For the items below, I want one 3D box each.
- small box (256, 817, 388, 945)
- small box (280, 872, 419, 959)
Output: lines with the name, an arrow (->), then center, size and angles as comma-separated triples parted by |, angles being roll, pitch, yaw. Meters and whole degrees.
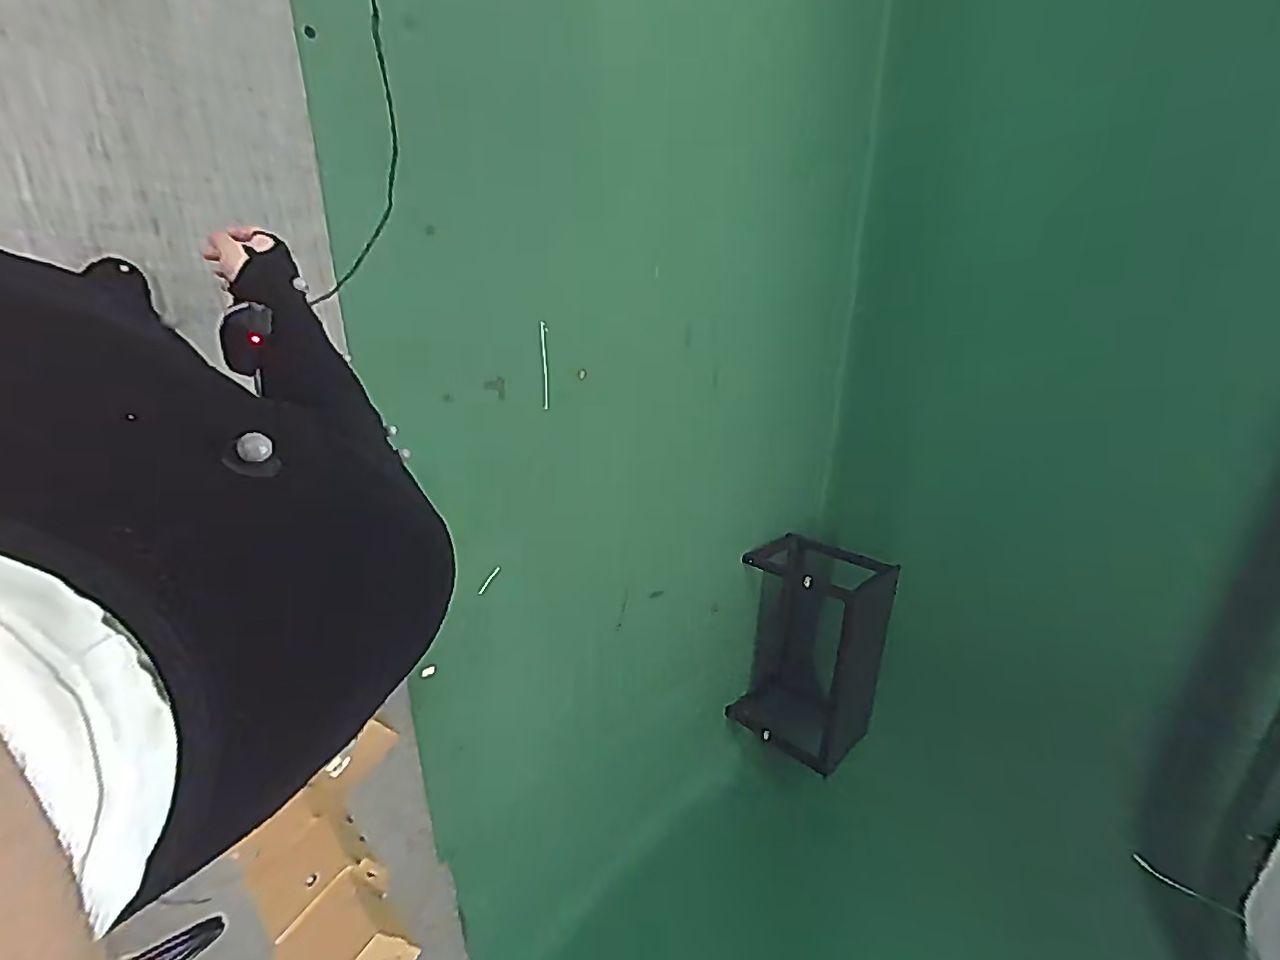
small box -> -0.720, 0.914, 1.224 | 0.179, 0.176, 0.168 | -44, 132, -28
small box -> -0.605, 0.971, 1.118 | 0.179, 0.176, 0.168 | -45, 133, -28
